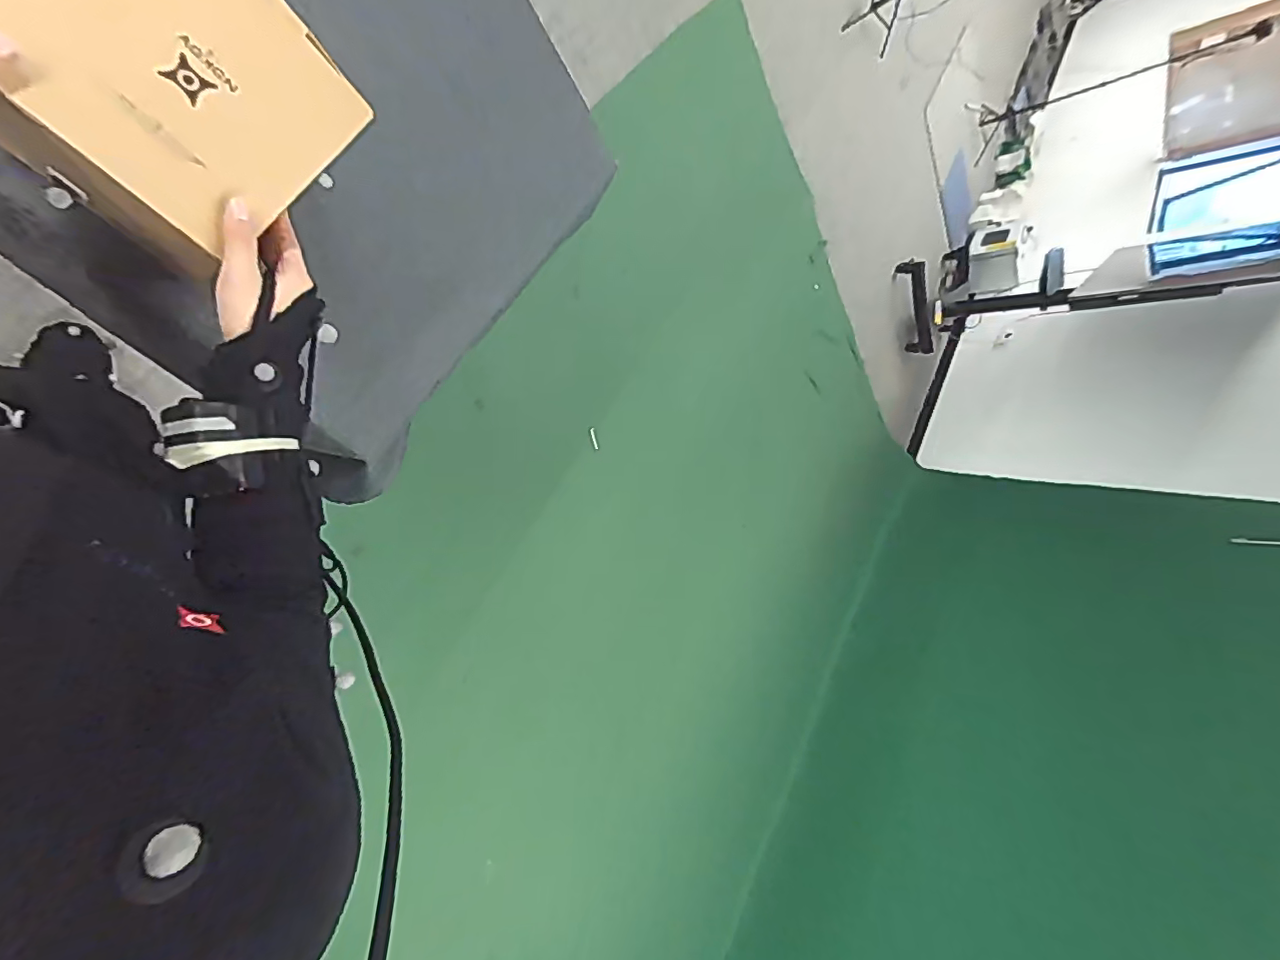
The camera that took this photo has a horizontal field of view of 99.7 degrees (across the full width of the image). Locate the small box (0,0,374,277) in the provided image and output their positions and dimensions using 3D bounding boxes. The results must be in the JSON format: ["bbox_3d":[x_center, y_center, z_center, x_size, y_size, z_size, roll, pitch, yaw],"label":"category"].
[{"bbox_3d":[-0.351,-0.280,0.410,0.168,0.176,0.179,44,69,-43],"label":"small box"}]
